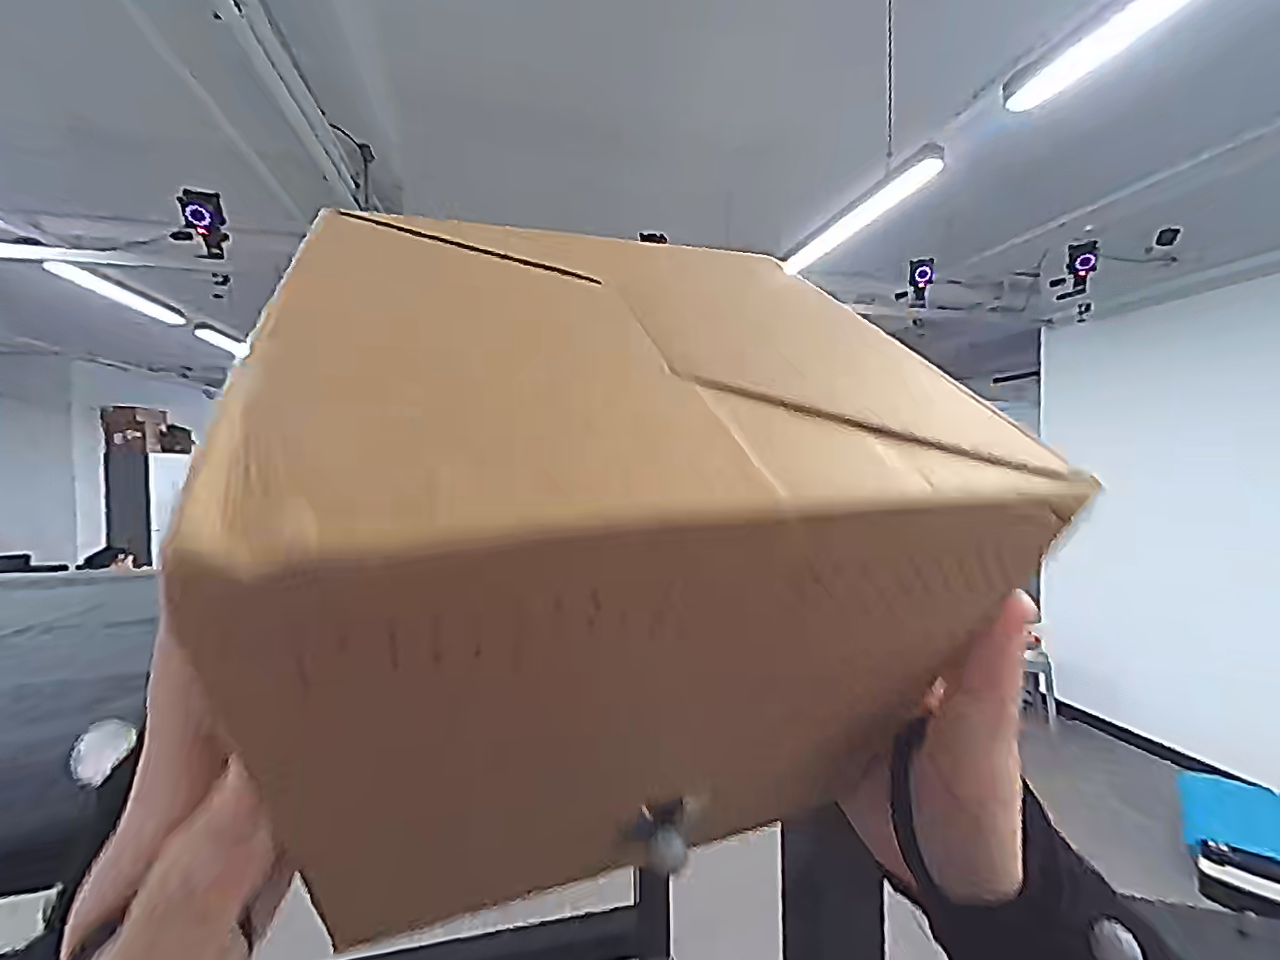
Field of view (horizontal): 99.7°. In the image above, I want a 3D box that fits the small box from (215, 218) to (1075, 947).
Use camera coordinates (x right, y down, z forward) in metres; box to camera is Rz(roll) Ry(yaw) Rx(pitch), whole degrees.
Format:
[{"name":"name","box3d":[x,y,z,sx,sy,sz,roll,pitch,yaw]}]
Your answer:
[{"name":"small box","box3d":[-0.009,0.021,0.197,0.179,0.176,0.168,-2,38,-20]}]
